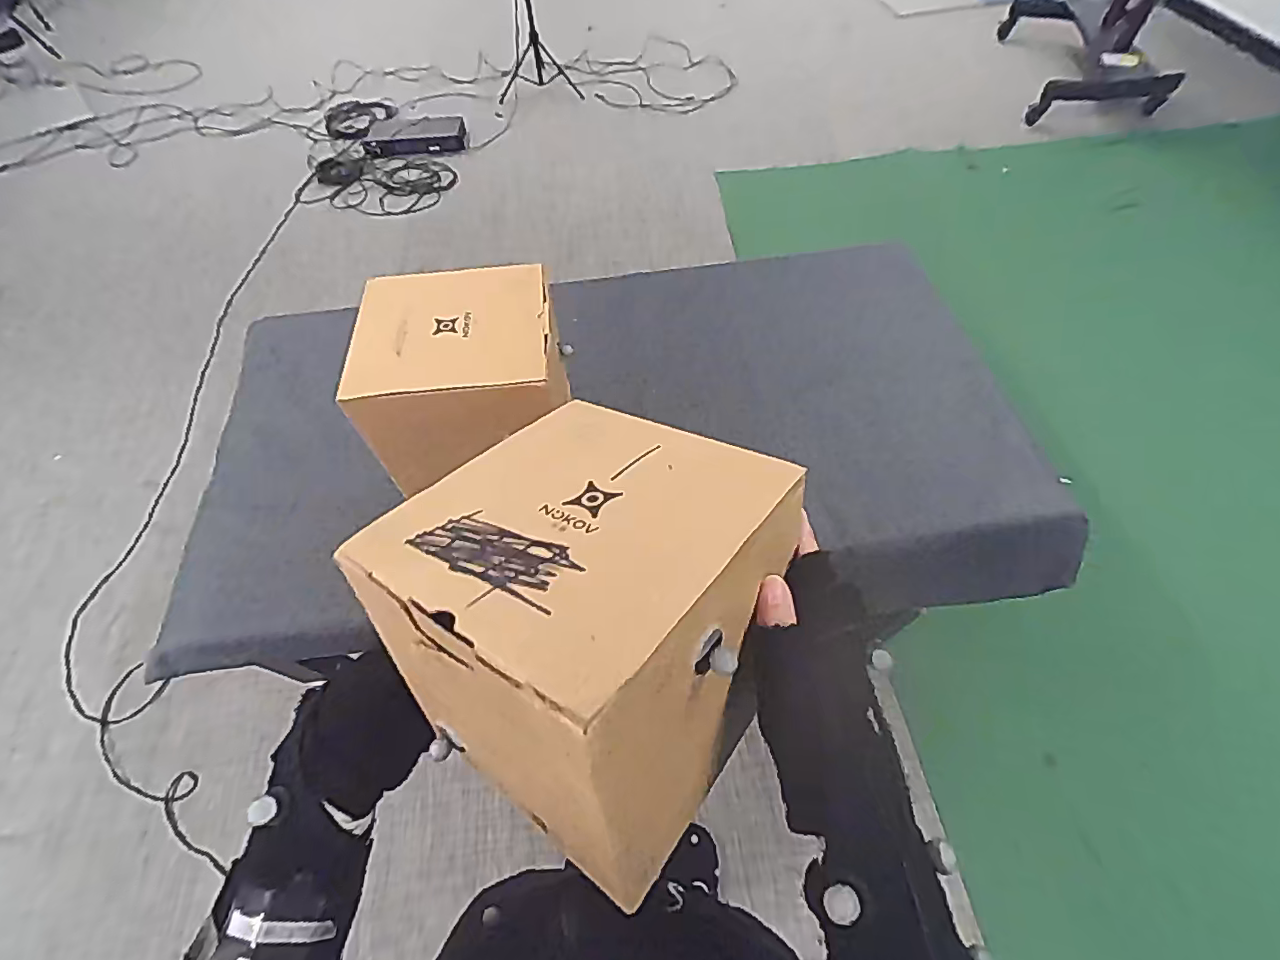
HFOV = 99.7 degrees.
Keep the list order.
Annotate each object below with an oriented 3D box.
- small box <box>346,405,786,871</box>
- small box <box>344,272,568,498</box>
[{"bbox_3d":[-0.027,0.081,0.327,0.168,0.176,0.179,21,43,31],"label":"small box"},{"bbox_3d":[-0.170,-0.090,0.567,0.179,0.176,0.168,-7,55,-2],"label":"small box"}]
